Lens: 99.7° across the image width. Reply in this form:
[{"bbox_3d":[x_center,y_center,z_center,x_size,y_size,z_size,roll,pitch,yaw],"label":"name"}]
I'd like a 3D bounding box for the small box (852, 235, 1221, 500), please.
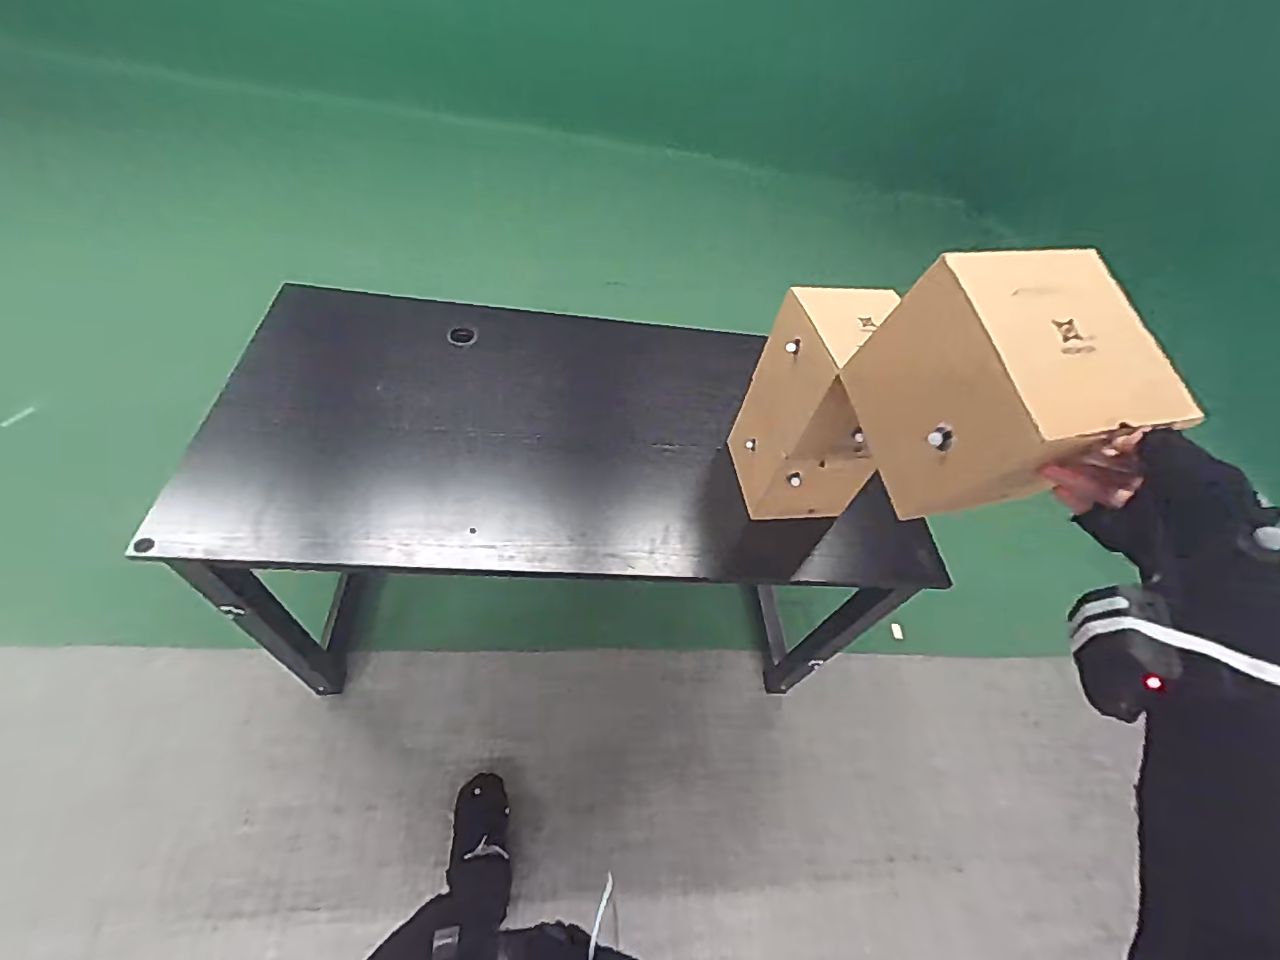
[{"bbox_3d":[0.327,-0.090,0.488,0.168,0.176,0.179,-7,68,-14],"label":"small box"}]

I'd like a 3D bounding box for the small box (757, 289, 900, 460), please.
[{"bbox_3d":[0.286,-0.148,0.773,0.168,0.176,0.179,-3,54,-13],"label":"small box"}]
